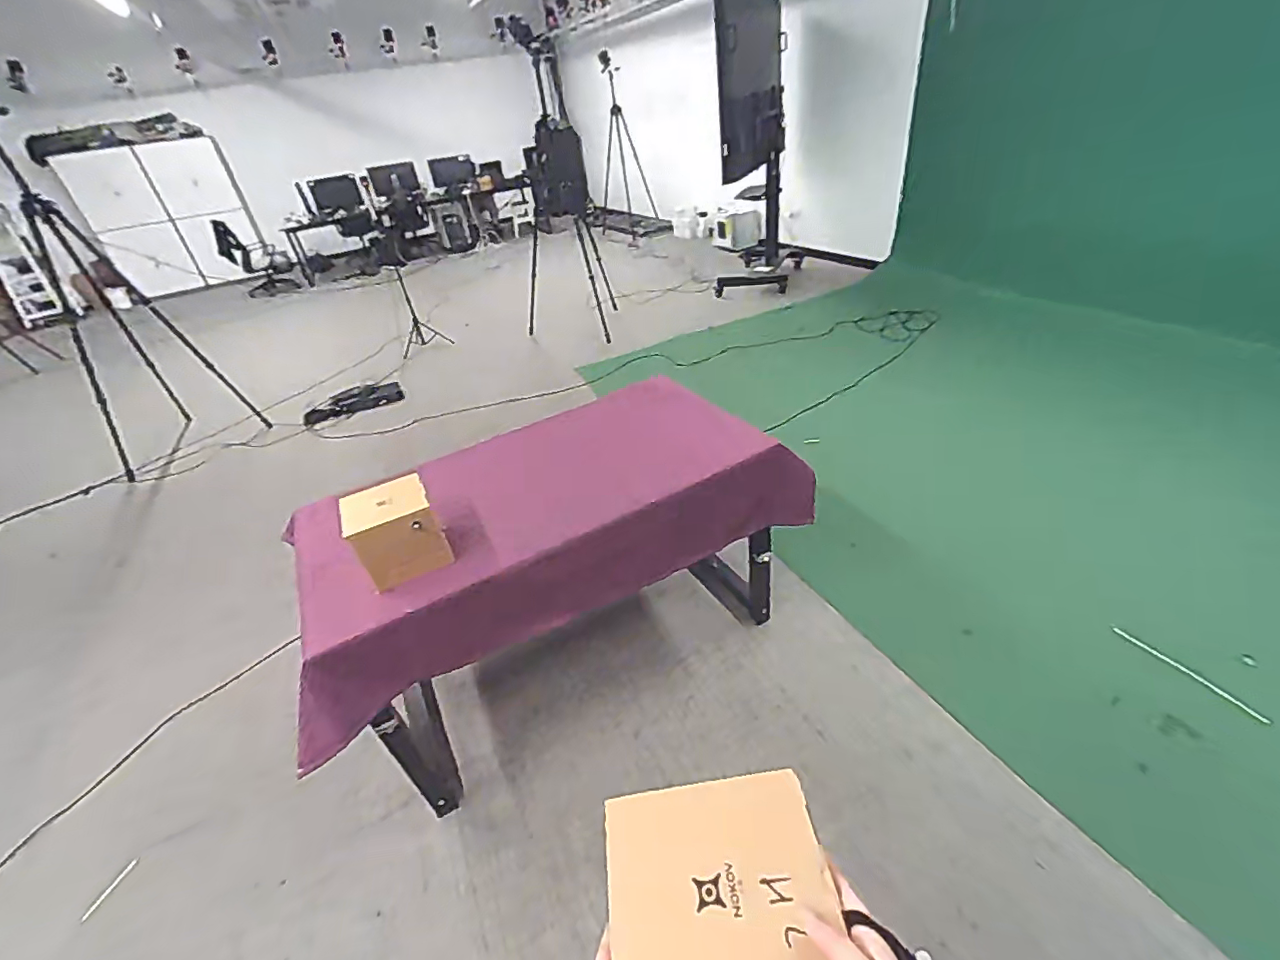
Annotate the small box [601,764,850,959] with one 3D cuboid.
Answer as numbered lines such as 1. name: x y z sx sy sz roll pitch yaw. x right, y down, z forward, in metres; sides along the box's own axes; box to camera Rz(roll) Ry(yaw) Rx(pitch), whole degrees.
1. small box: 0.069 0.380 0.467 0.179 0.176 0.168 -10 36 1

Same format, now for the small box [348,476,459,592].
1. small box: -0.536 0.123 1.230 0.179 0.176 0.168 -23 36 -19
